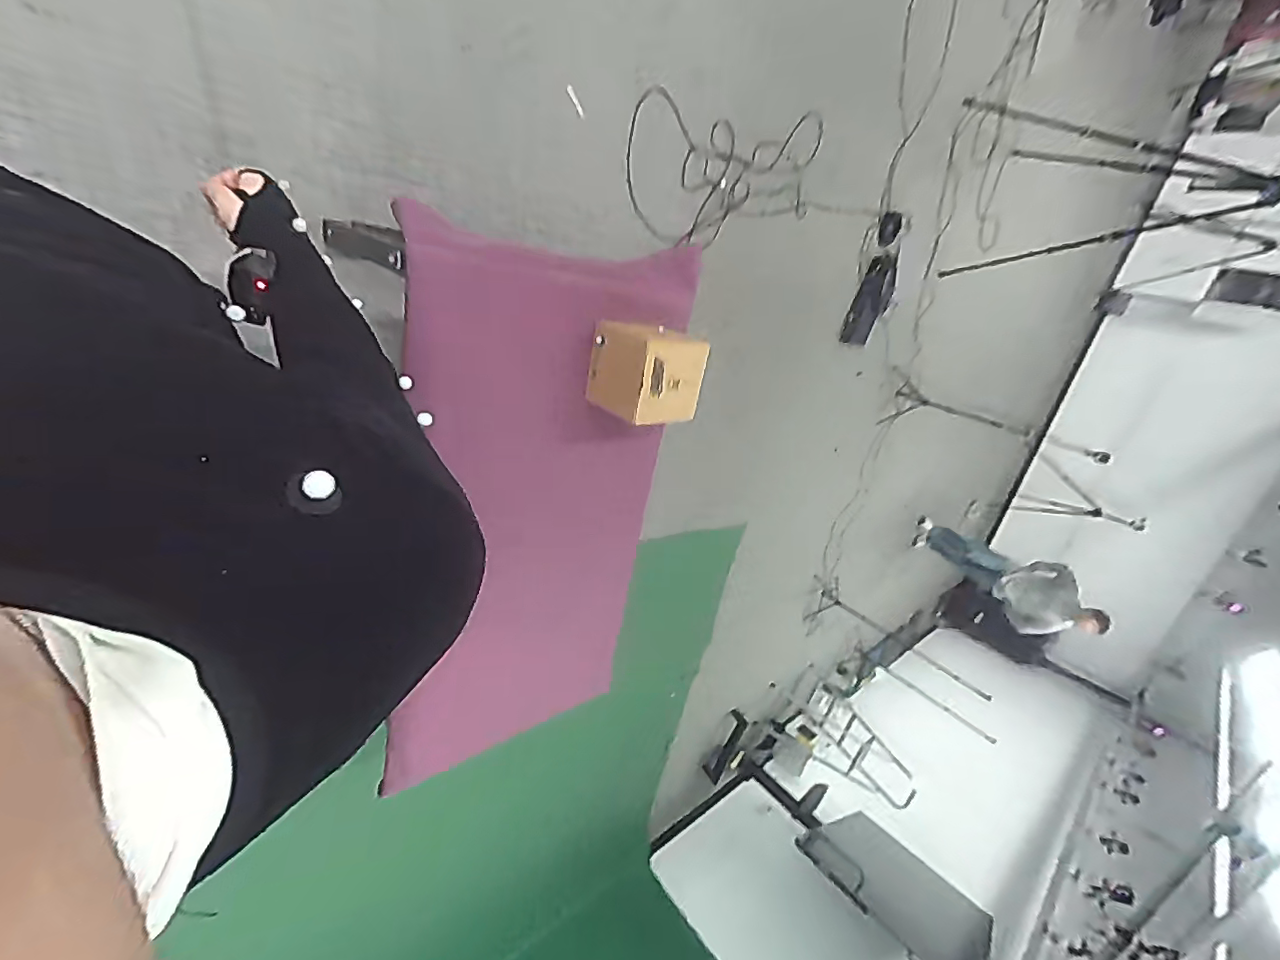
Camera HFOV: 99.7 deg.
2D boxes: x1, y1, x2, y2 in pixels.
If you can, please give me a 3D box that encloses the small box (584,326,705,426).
[{"bbox_3d":[0.003,-0.221,1.136,0.179,0.176,0.168,-10,121,-42],"label":"small box"}]
